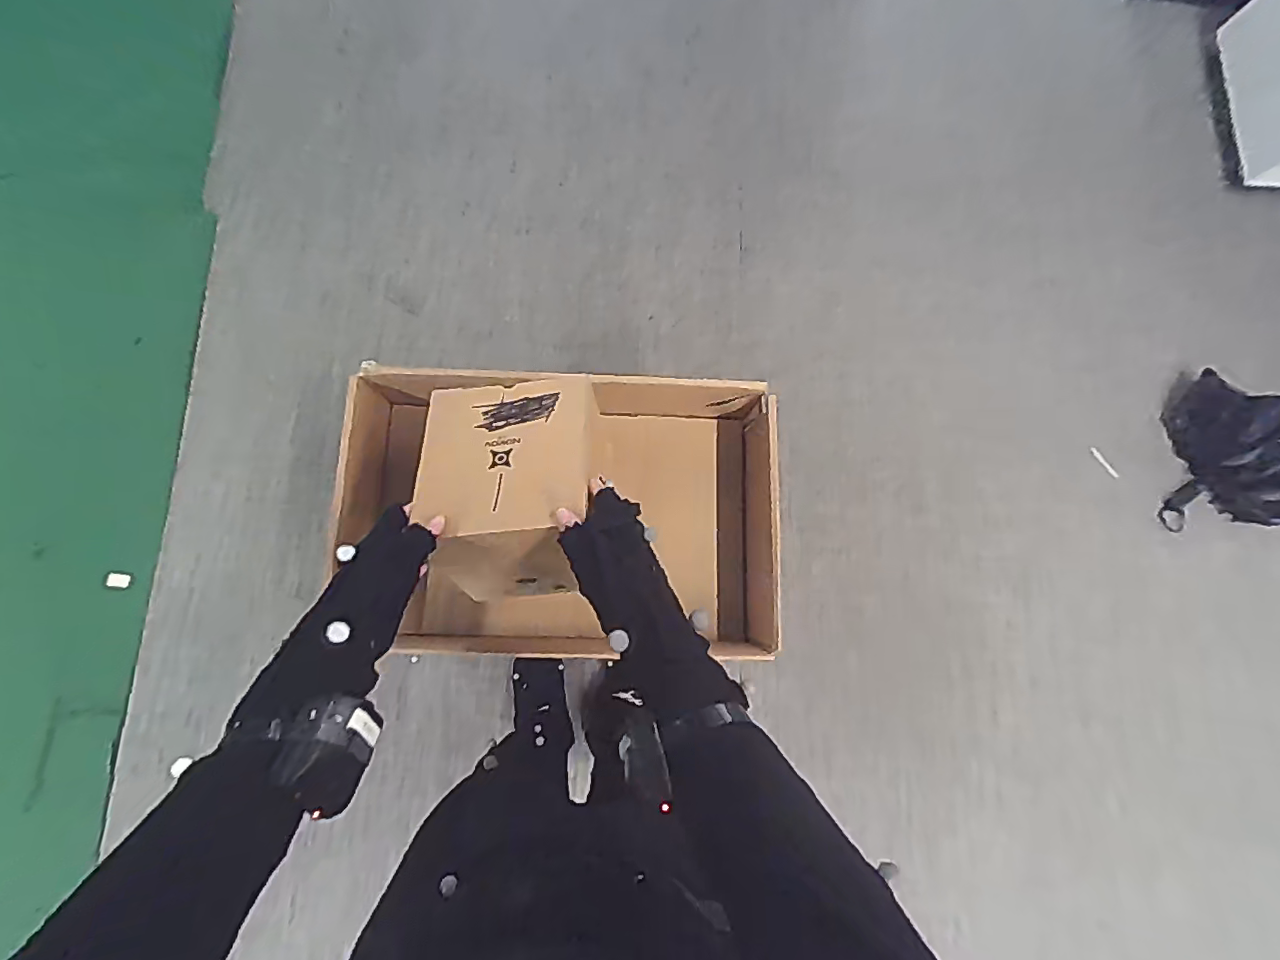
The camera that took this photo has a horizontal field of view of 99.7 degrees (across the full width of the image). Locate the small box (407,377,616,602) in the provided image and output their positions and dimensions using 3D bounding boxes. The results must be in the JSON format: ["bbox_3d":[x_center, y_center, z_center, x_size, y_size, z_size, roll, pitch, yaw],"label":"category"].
[{"bbox_3d":[-0.121,0.016,0.585,0.168,0.176,0.179,-7,59,5],"label":"small box"}]
